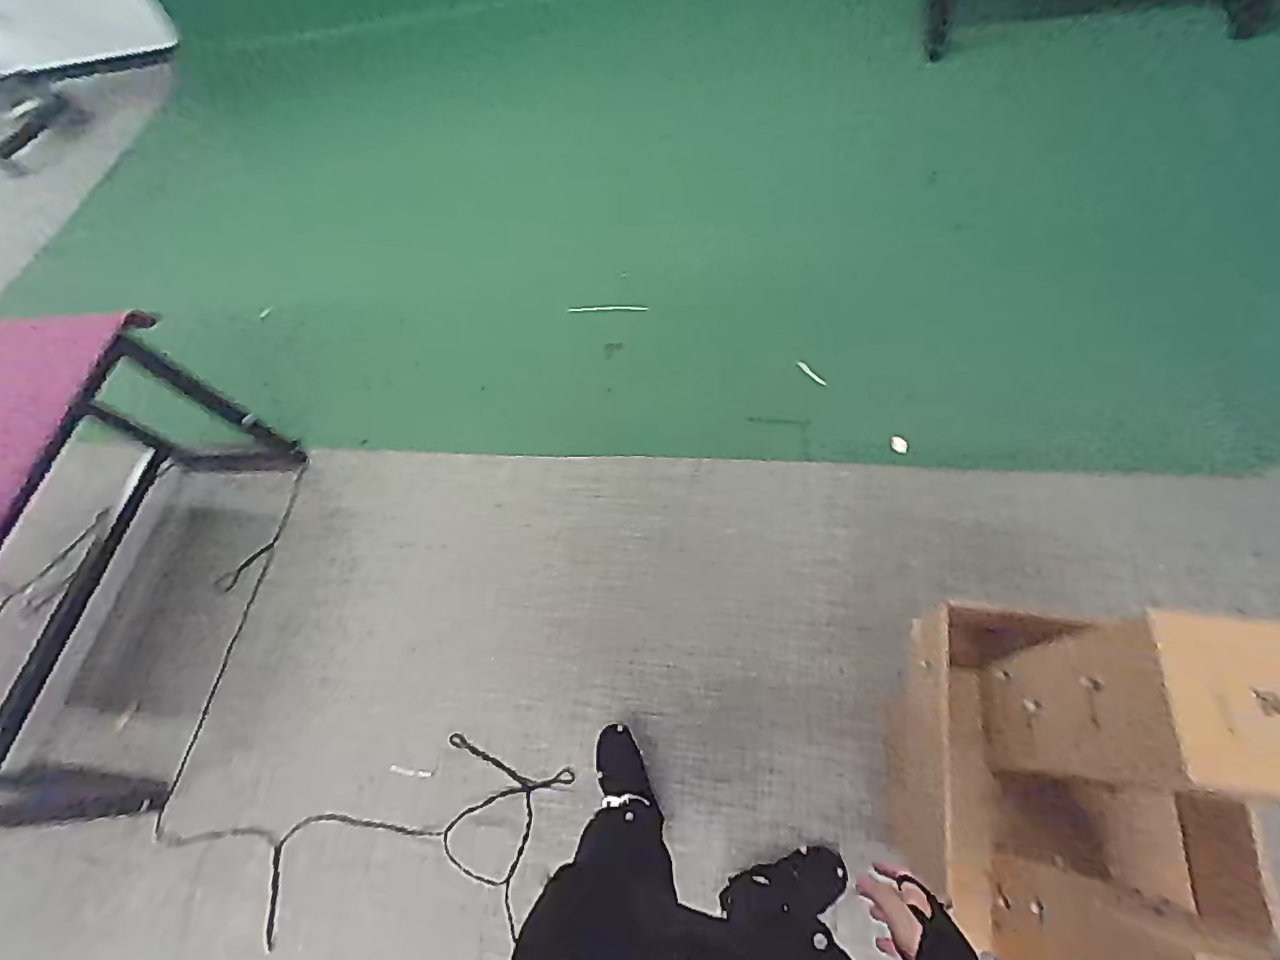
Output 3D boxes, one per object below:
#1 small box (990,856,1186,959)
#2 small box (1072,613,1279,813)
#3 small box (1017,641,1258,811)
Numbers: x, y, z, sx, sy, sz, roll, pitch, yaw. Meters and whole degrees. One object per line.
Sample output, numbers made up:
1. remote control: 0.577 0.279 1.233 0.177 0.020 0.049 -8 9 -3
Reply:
1. small box: 0.621 0.655 0.756 0.179 0.176 0.168 8 66 16
2. small box: 0.618 0.254 0.583 0.179 0.176 0.168 5 64 13
3. small box: 0.649 0.326 0.726 0.179 0.176 0.168 5 64 13
